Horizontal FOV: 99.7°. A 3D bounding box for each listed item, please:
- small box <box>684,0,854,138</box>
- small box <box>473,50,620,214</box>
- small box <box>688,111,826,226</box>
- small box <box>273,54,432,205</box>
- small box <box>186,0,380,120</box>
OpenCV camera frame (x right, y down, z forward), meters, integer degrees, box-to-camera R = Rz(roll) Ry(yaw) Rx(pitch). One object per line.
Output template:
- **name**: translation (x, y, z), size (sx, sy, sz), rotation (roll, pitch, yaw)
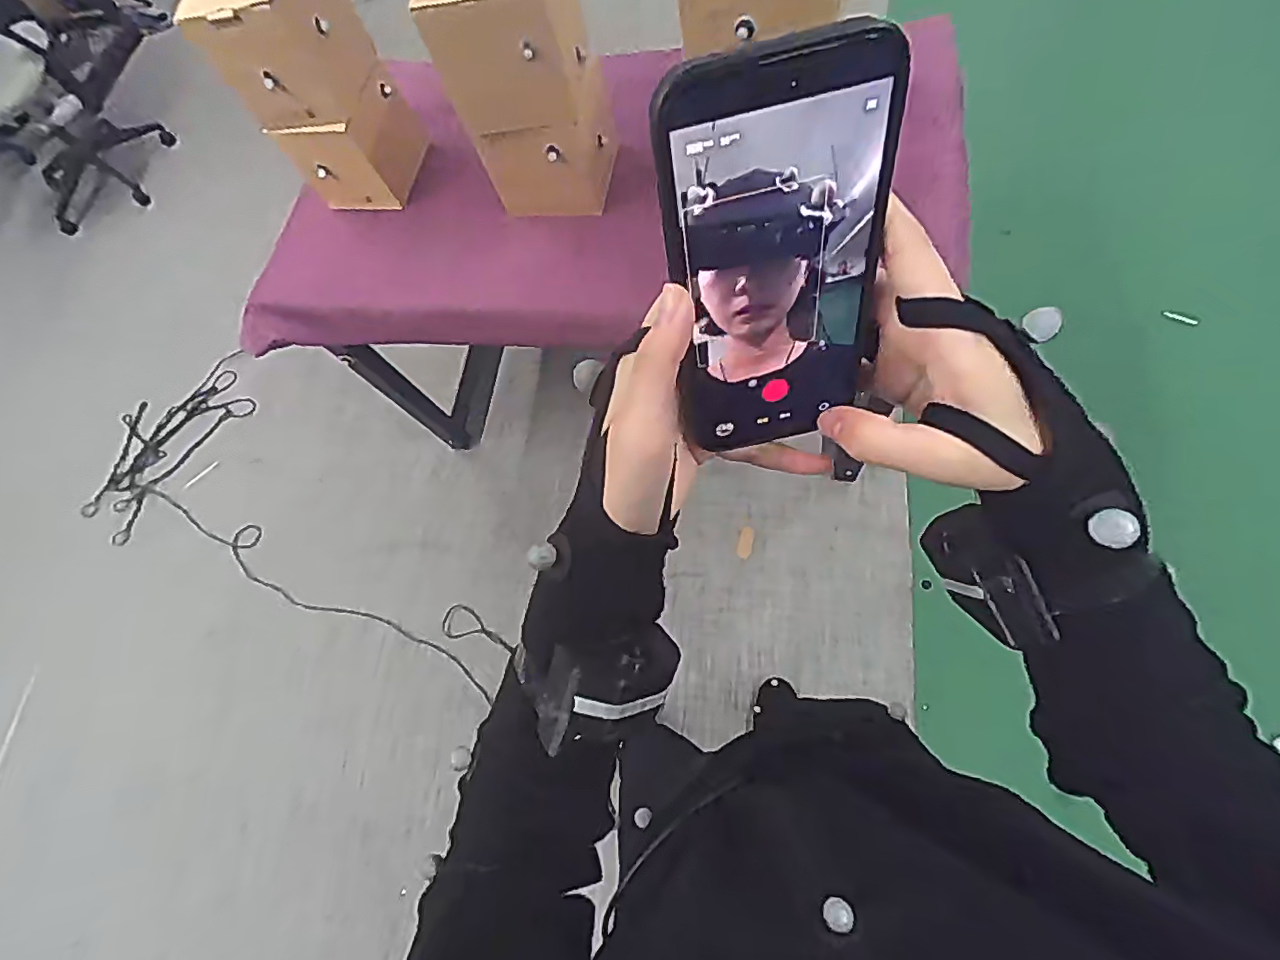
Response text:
- **small box**: translation (0.161, -0.556, 0.664), size (0.179, 0.176, 0.168), rotation (13, 73, 14)
- **small box**: translation (-0.142, -0.569, 0.902), size (0.179, 0.176, 0.168), rotation (7, 71, 13)
- **small box**: translation (0.184, -0.515, 0.821), size (0.179, 0.176, 0.168), rotation (13, 73, 15)
- **small box**: translation (-0.515, -0.636, 0.998), size (0.168, 0.176, 0.179), rotation (8, 71, 13)
- **small box**: translation (-0.542, -0.700, 0.849), size (0.168, 0.176, 0.179), rotation (3, 71, 11)
